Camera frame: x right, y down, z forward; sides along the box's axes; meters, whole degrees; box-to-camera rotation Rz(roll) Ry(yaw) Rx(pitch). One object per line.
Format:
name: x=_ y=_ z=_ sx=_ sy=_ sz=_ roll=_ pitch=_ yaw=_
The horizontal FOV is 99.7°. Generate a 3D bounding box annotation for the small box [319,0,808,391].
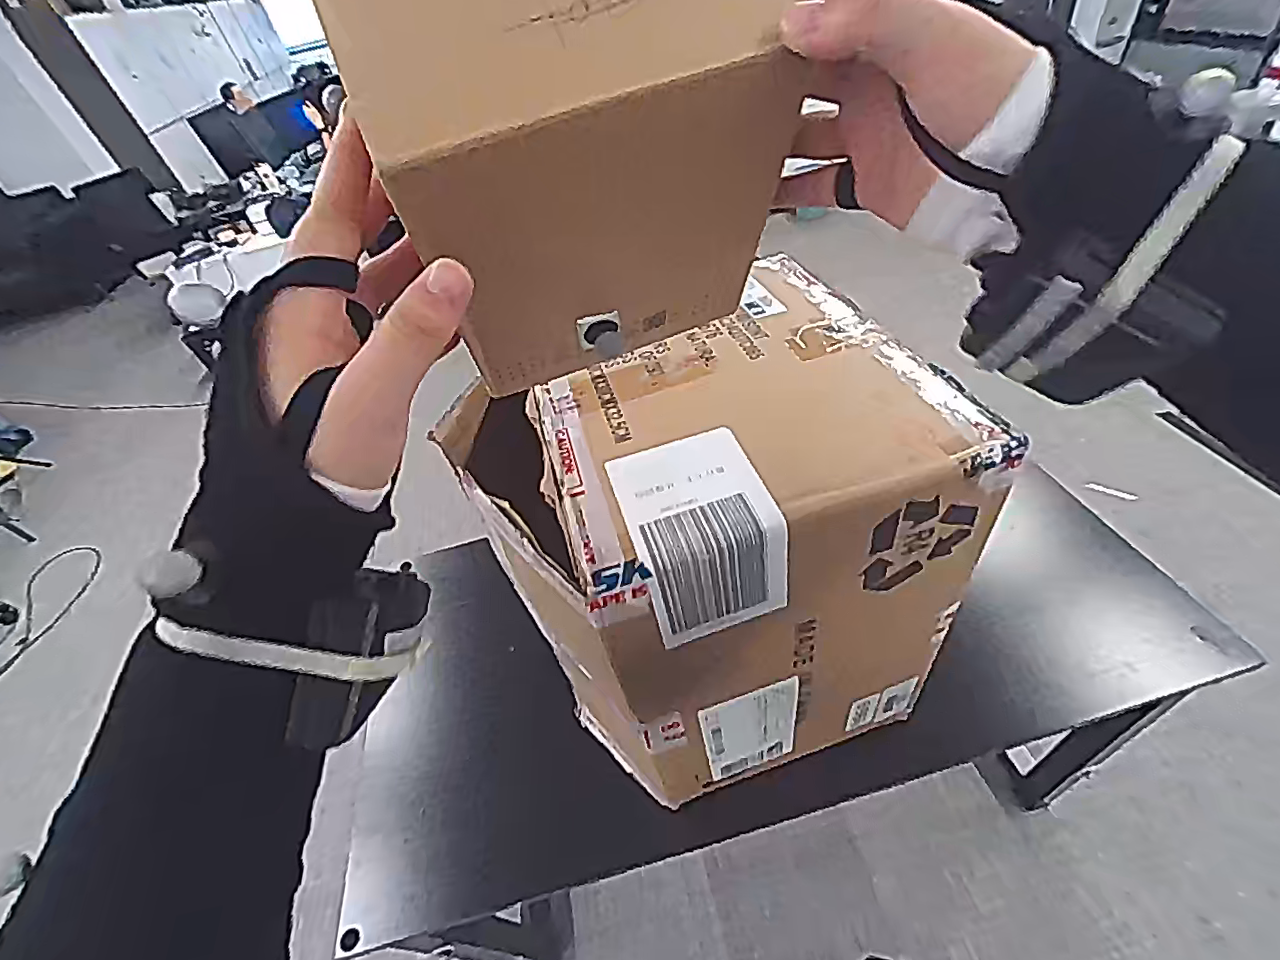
small box: x=-0.046 y=-0.179 z=0.290 sx=0.168 sy=0.176 sz=0.179 roll=-23 pitch=74 yaw=-7
